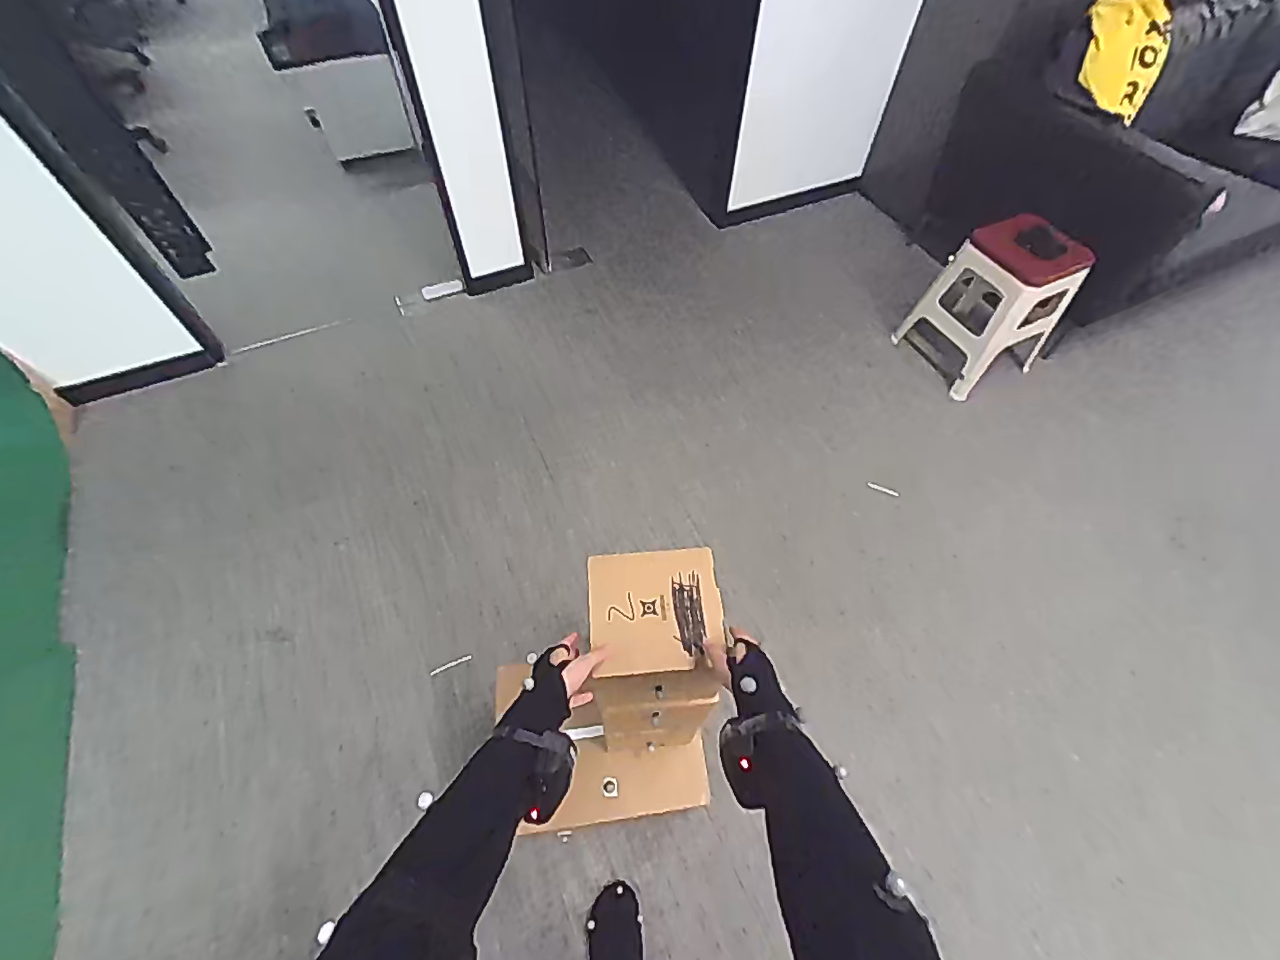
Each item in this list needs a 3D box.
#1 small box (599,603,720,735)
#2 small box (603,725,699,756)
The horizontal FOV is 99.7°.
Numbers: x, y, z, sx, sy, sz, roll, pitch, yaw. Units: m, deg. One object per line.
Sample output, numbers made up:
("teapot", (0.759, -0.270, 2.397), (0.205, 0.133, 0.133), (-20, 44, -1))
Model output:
("small box", (0.023, 0.316, 0.897), (0.179, 0.176, 0.168), (-4, 55, -4))
("small box", (0.010, 0.409, 1.029), (0.168, 0.176, 0.179), (-5, 55, -4))
